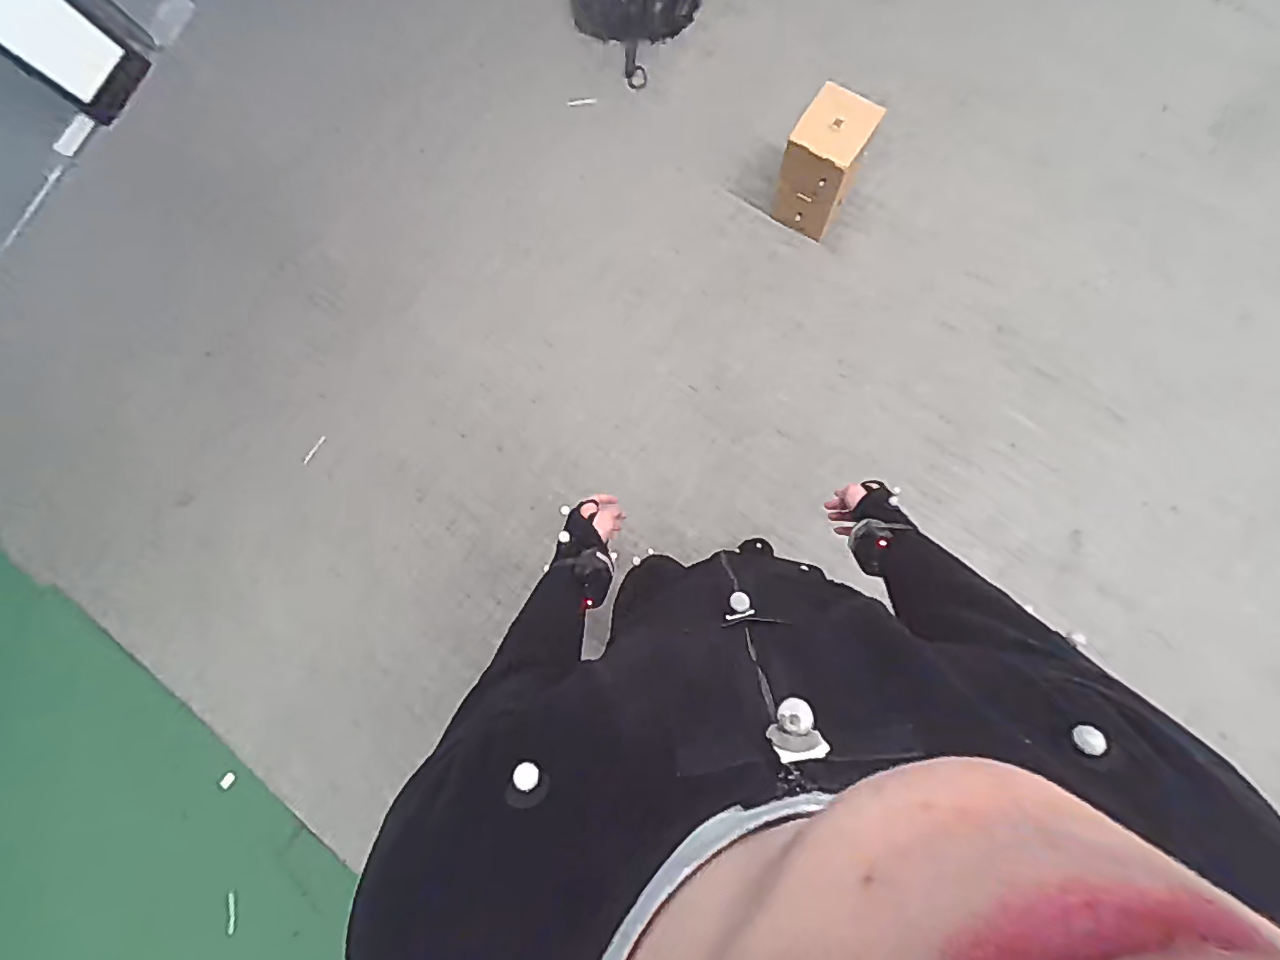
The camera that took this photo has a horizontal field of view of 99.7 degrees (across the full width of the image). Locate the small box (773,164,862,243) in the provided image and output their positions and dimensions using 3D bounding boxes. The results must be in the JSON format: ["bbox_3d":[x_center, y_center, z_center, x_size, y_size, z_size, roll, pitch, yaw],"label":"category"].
[{"bbox_3d":[0.493,-0.813,1.535,0.168,0.176,0.179,33,89,9],"label":"small box"}]

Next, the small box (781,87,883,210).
[{"bbox_3d":[0.475,-0.831,1.374,0.168,0.176,0.179,34,87,8],"label":"small box"}]
